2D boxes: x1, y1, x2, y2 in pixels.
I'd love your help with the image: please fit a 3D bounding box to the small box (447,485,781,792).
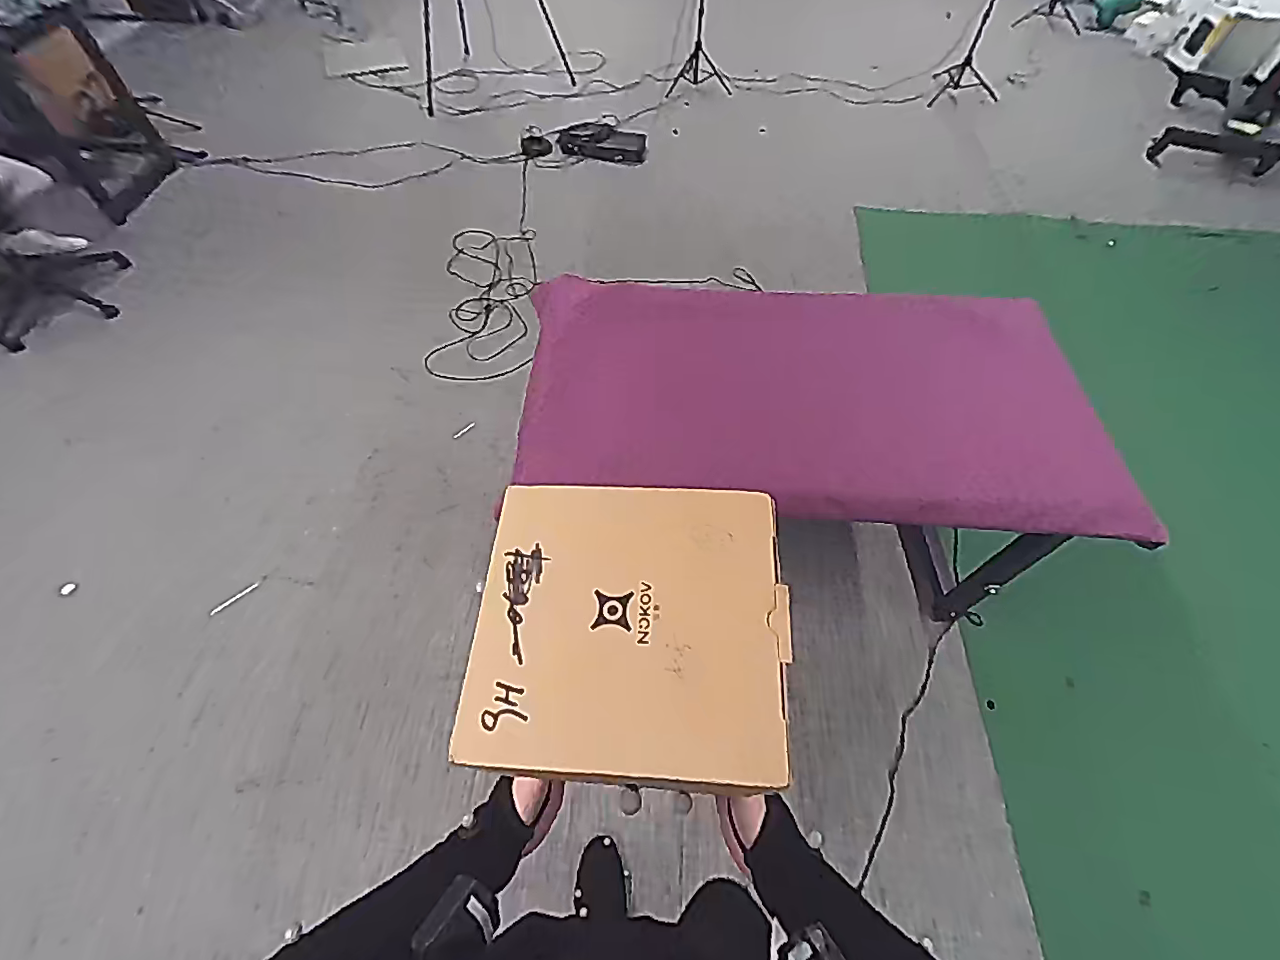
[{"bbox_3d":[-0.006,0.120,0.385,0.179,0.176,0.168,3,58,5],"label":"small box"}]
